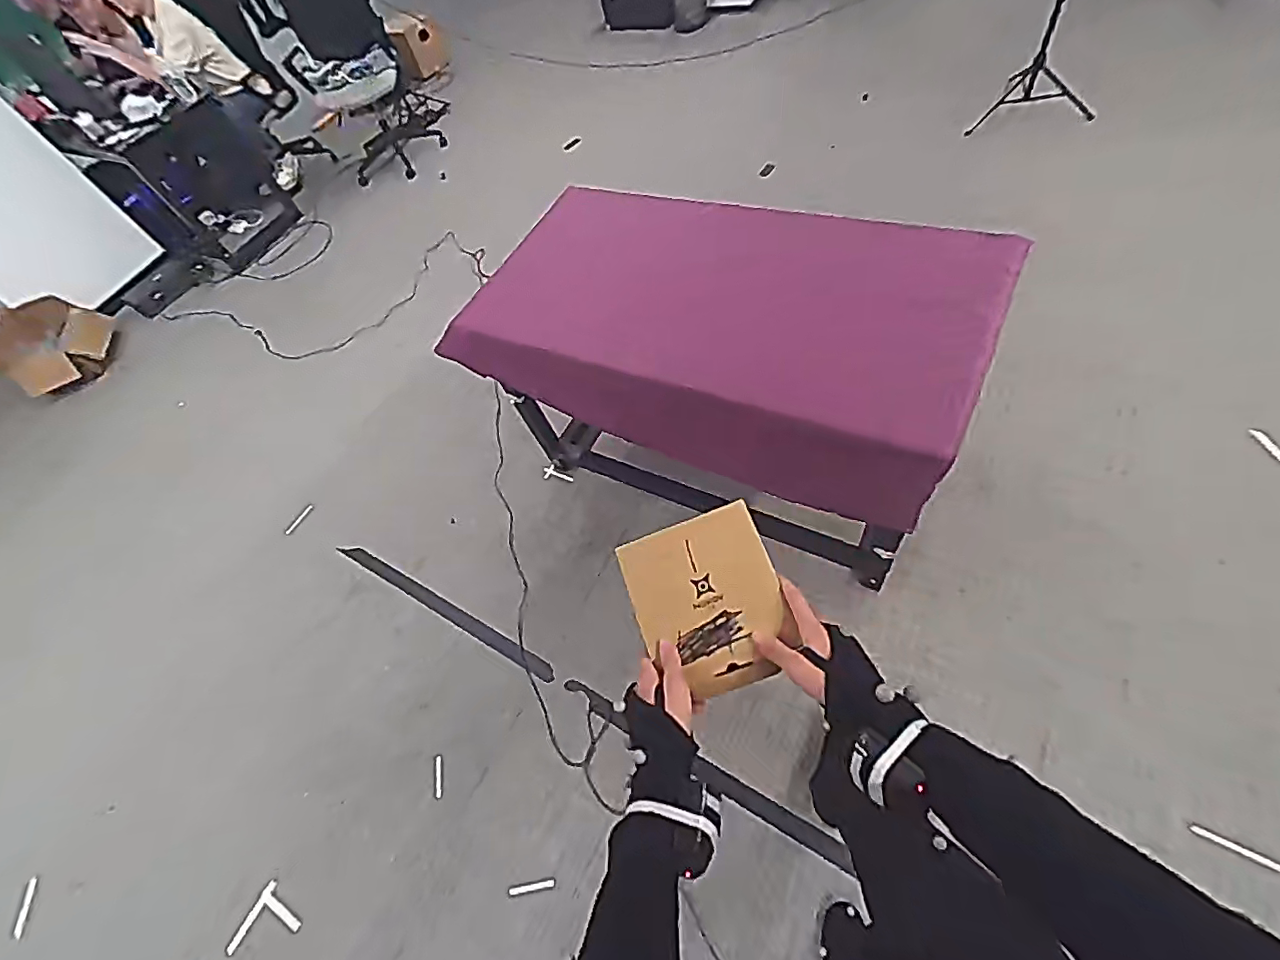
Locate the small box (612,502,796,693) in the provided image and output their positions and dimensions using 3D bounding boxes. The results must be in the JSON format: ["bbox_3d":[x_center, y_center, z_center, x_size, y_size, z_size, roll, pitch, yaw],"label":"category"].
[{"bbox_3d":[0.084,0.154,0.688,0.168,0.176,0.179,-22,68,3],"label":"small box"}]
